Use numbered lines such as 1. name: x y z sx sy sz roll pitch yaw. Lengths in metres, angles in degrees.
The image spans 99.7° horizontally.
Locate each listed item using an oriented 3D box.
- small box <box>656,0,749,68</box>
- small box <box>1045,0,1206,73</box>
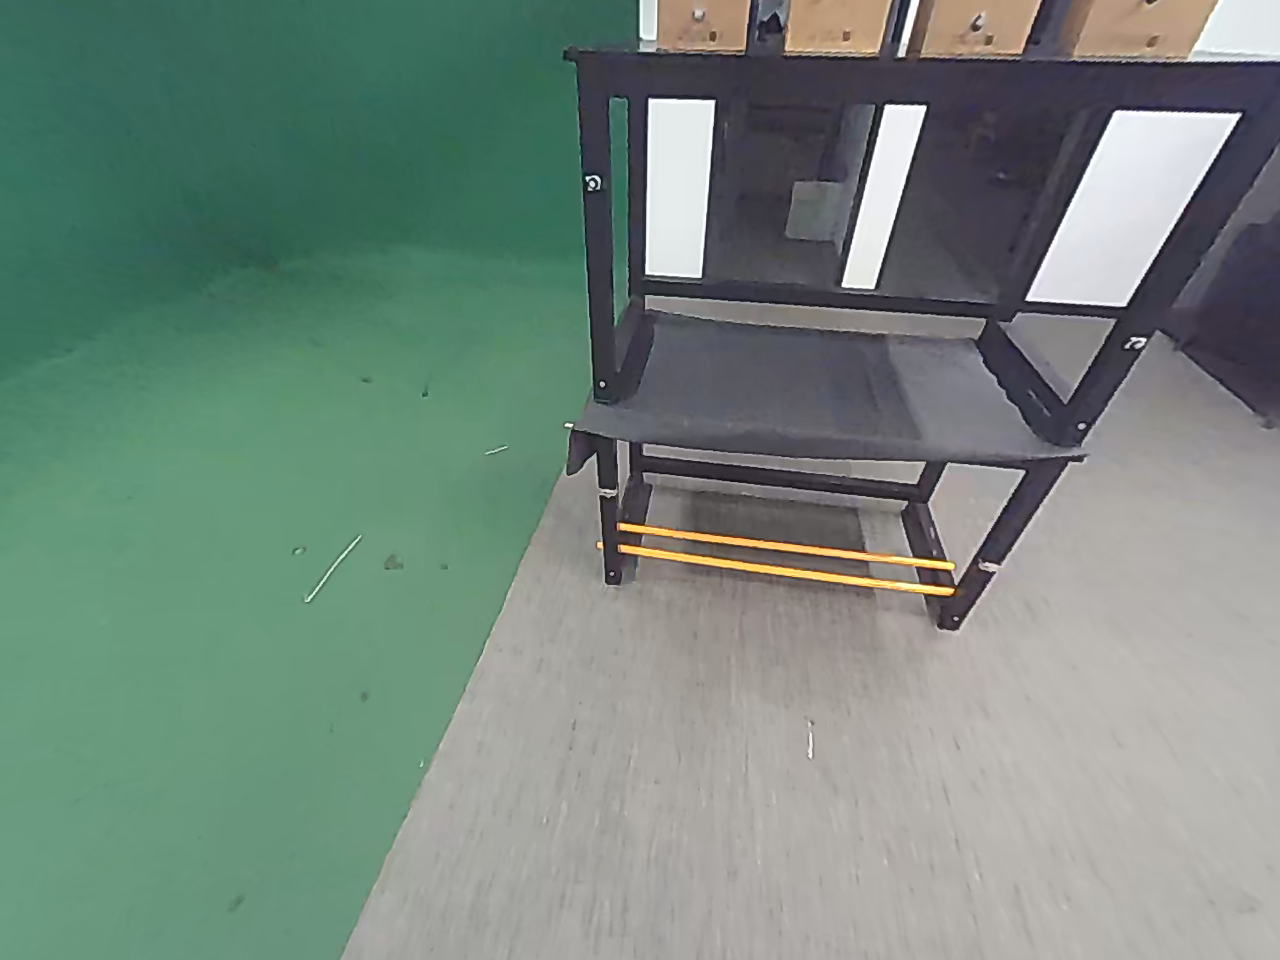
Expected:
1. small box: 0.122 -0.896 1.025 0.168 0.176 0.179 6 41 6
2. small box: 0.830 -0.800 0.918 0.168 0.176 0.179 14 41 15
